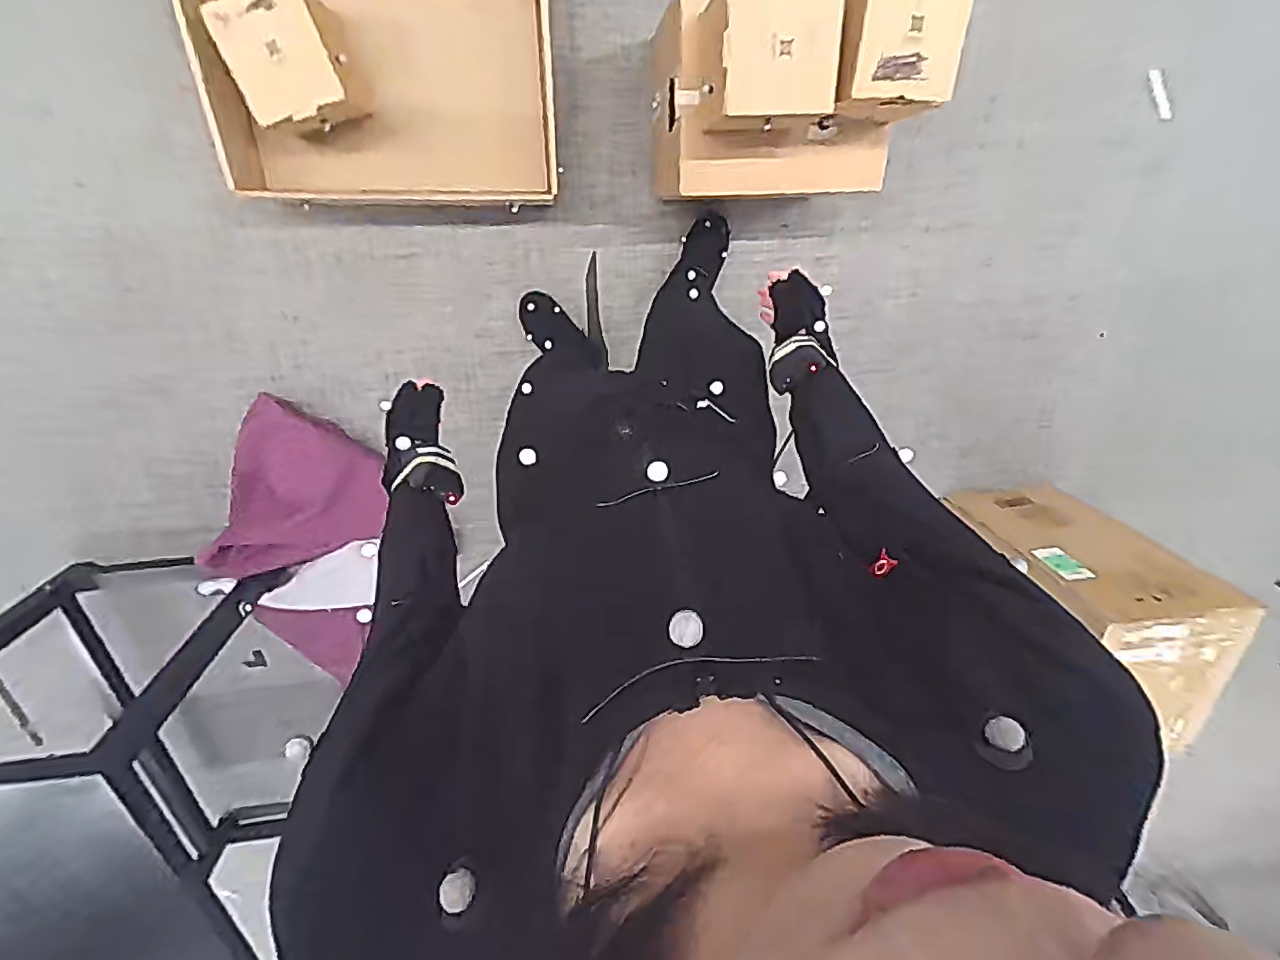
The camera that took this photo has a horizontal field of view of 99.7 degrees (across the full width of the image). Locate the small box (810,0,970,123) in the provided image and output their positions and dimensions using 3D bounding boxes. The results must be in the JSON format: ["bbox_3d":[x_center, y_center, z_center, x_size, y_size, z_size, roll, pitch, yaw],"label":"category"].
[{"bbox_3d":[0.395,-0.701,0.881,0.168,0.176,0.179,-1,114,-8],"label":"small box"}]

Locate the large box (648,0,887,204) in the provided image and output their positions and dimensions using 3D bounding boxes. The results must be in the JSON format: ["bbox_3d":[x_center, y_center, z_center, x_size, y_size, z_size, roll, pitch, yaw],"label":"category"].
[{"bbox_3d":[0.243,-0.753,1.106,0.408,0.320,0.320,-6,117,-7],"label":"large box"}]
